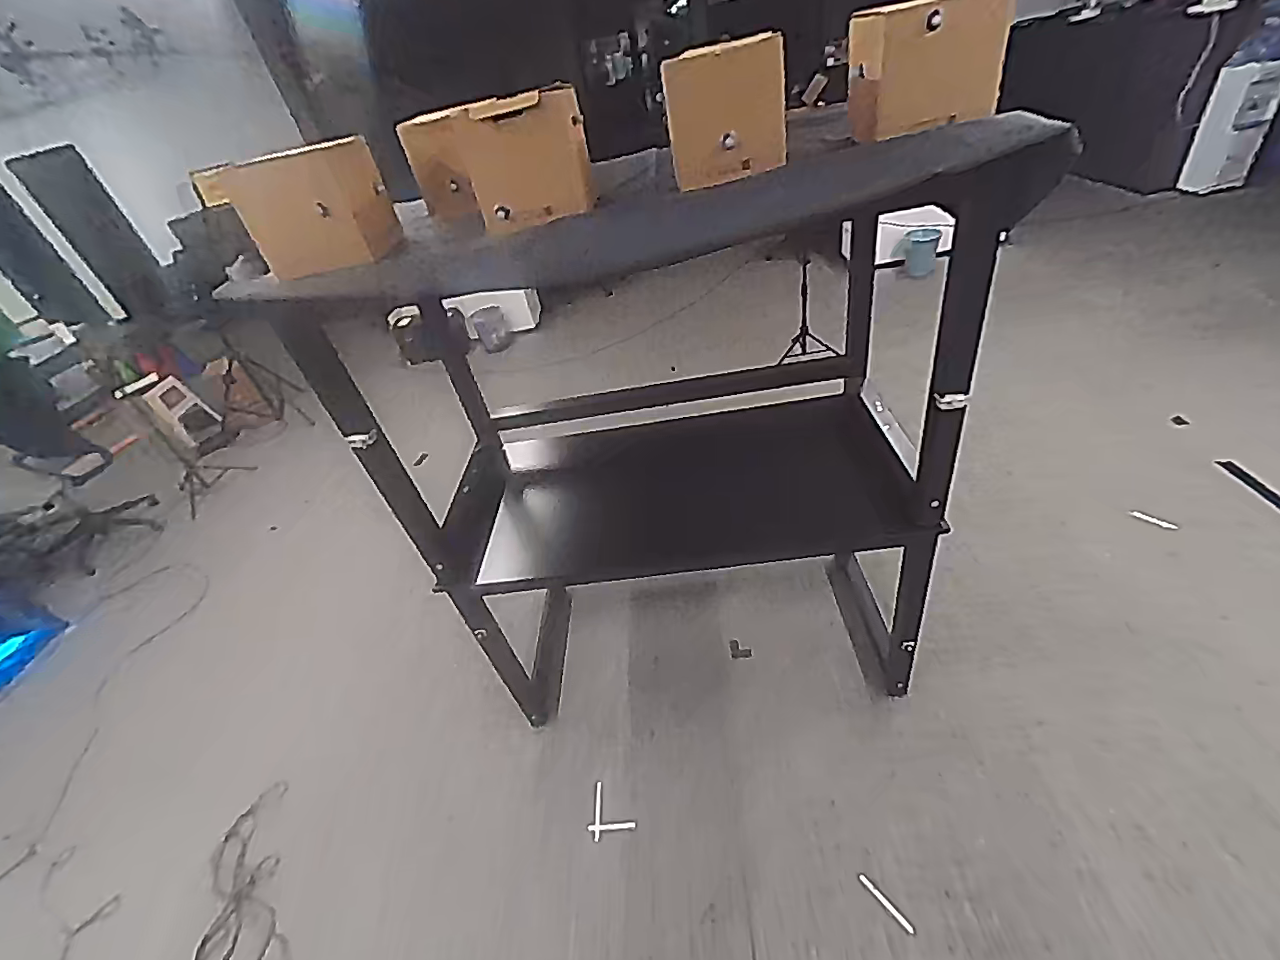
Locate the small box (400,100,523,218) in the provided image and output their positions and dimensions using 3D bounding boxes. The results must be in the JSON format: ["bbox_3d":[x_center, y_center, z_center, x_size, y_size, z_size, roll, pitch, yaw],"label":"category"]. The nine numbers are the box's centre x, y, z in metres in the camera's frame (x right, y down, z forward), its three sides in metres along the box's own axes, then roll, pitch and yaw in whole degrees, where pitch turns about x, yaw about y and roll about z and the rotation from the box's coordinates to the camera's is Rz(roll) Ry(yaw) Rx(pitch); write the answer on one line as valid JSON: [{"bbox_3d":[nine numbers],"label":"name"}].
[{"bbox_3d":[-0.347,-0.648,1.095,0.168,0.176,0.179,-9,39,6],"label":"small box"}]

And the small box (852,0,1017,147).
[{"bbox_3d":[0.427,-0.620,0.818,0.168,0.176,0.179,-8,37,9],"label":"small box"}]

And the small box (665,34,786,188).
[{"bbox_3d":[0.132,-0.578,0.856,0.168,0.176,0.179,-9,37,7],"label":"small box"}]

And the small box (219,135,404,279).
[{"bbox_3d":[-0.528,-0.455,0.904,0.179,0.176,0.168,-9,38,5],"label":"small box"}]
